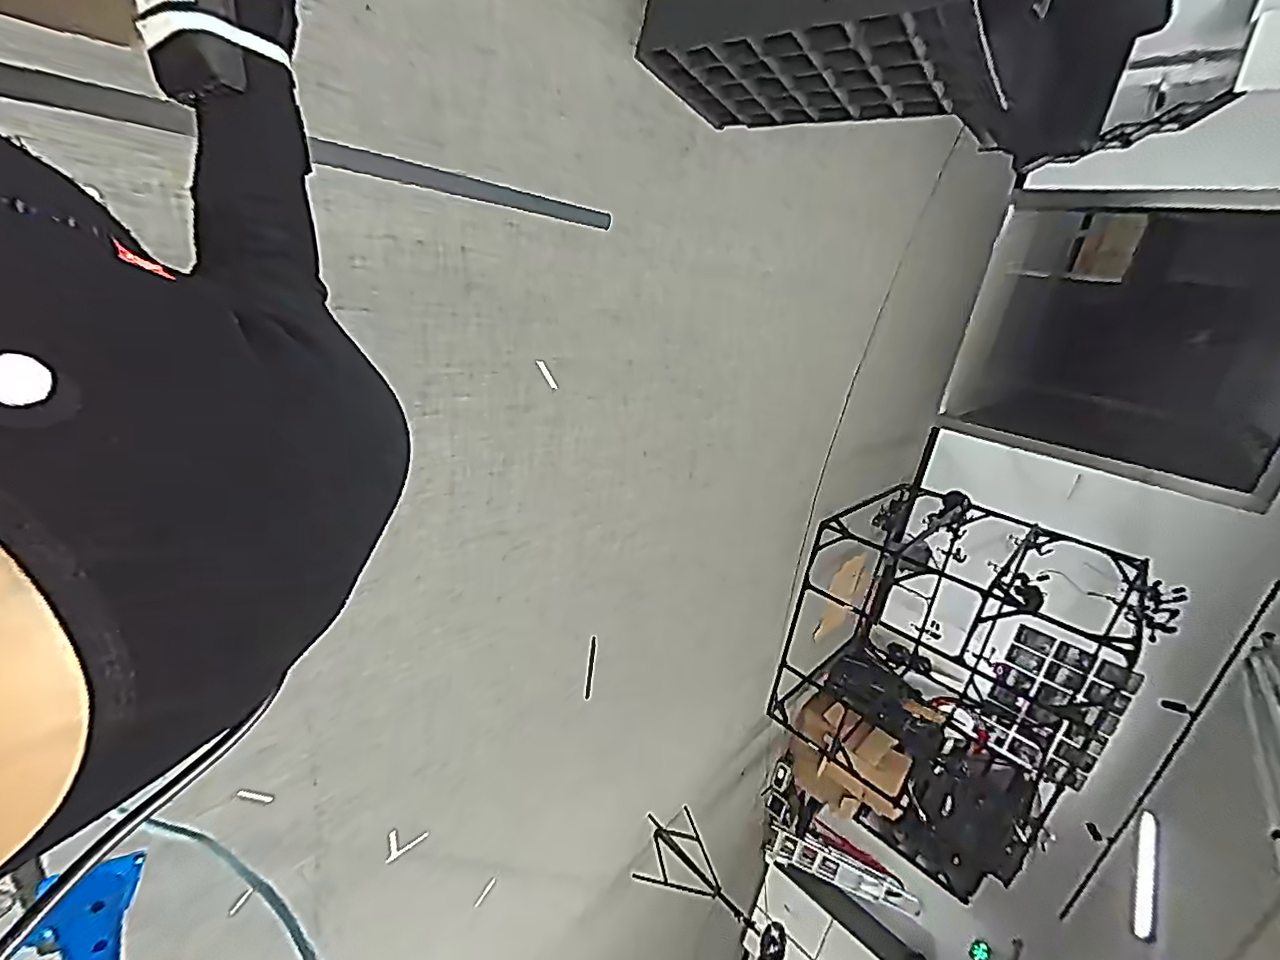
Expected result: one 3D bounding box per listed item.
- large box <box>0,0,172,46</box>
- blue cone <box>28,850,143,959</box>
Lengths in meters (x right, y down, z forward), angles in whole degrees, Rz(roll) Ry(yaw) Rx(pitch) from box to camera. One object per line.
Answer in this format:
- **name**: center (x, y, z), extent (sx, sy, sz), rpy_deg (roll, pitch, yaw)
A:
- **large box**: center (-0.539, -0.487, 0.271), extent (0.408, 0.320, 0.320), rpy_deg (-18, 124, -45)
- **blue cone**: center (-1.299, 1.116, 1.286), extent (0.193, 0.380, 0.192), rpy_deg (17, 96, -52)
